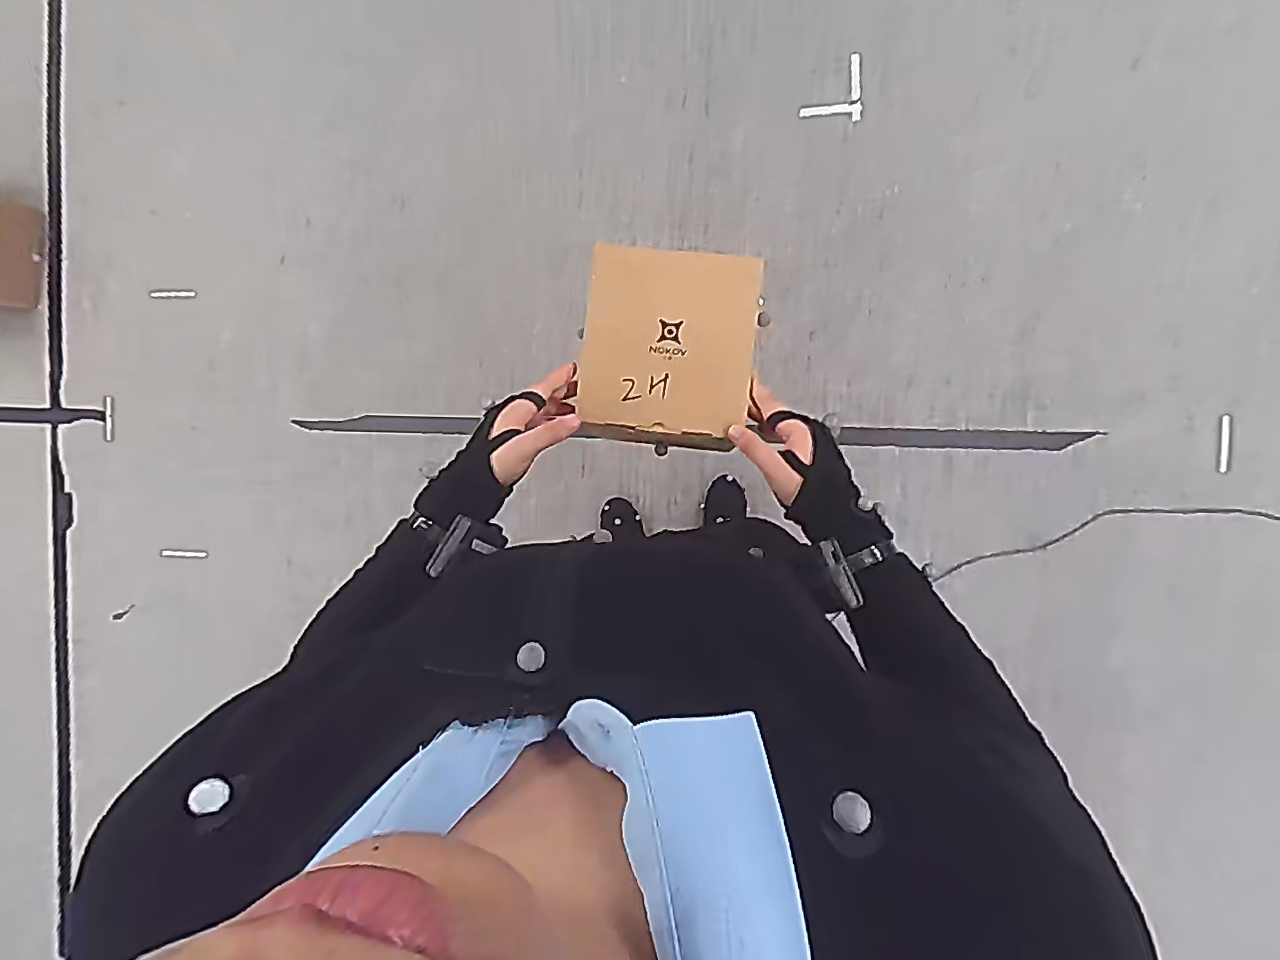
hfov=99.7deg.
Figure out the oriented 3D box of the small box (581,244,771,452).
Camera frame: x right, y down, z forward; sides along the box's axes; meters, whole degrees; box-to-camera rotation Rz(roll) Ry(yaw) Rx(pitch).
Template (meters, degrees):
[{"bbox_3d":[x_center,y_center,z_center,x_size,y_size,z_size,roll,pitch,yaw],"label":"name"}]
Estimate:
[{"bbox_3d":[0.039,-0.130,0.590,0.168,0.176,0.179,6,90,5],"label":"small box"}]
